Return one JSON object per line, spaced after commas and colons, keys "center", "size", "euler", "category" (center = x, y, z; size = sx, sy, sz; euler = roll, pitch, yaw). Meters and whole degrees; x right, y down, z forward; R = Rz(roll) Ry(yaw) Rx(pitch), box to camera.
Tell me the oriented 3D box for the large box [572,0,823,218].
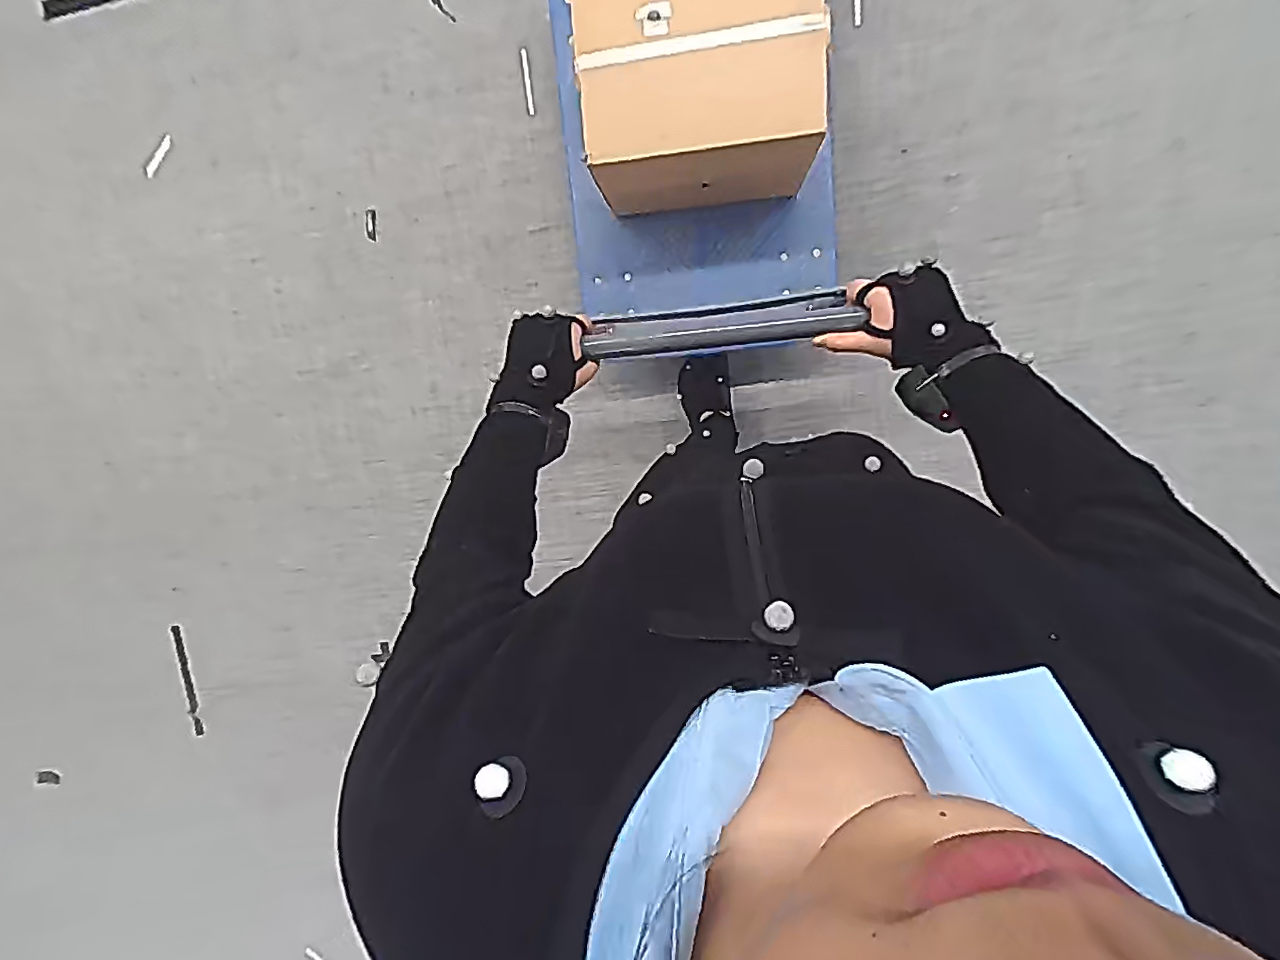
{"center": [0.116, -0.737, 1.049], "size": [0.408, 0.320, 0.320], "euler": [-4, 99, 9], "category": "large box"}
